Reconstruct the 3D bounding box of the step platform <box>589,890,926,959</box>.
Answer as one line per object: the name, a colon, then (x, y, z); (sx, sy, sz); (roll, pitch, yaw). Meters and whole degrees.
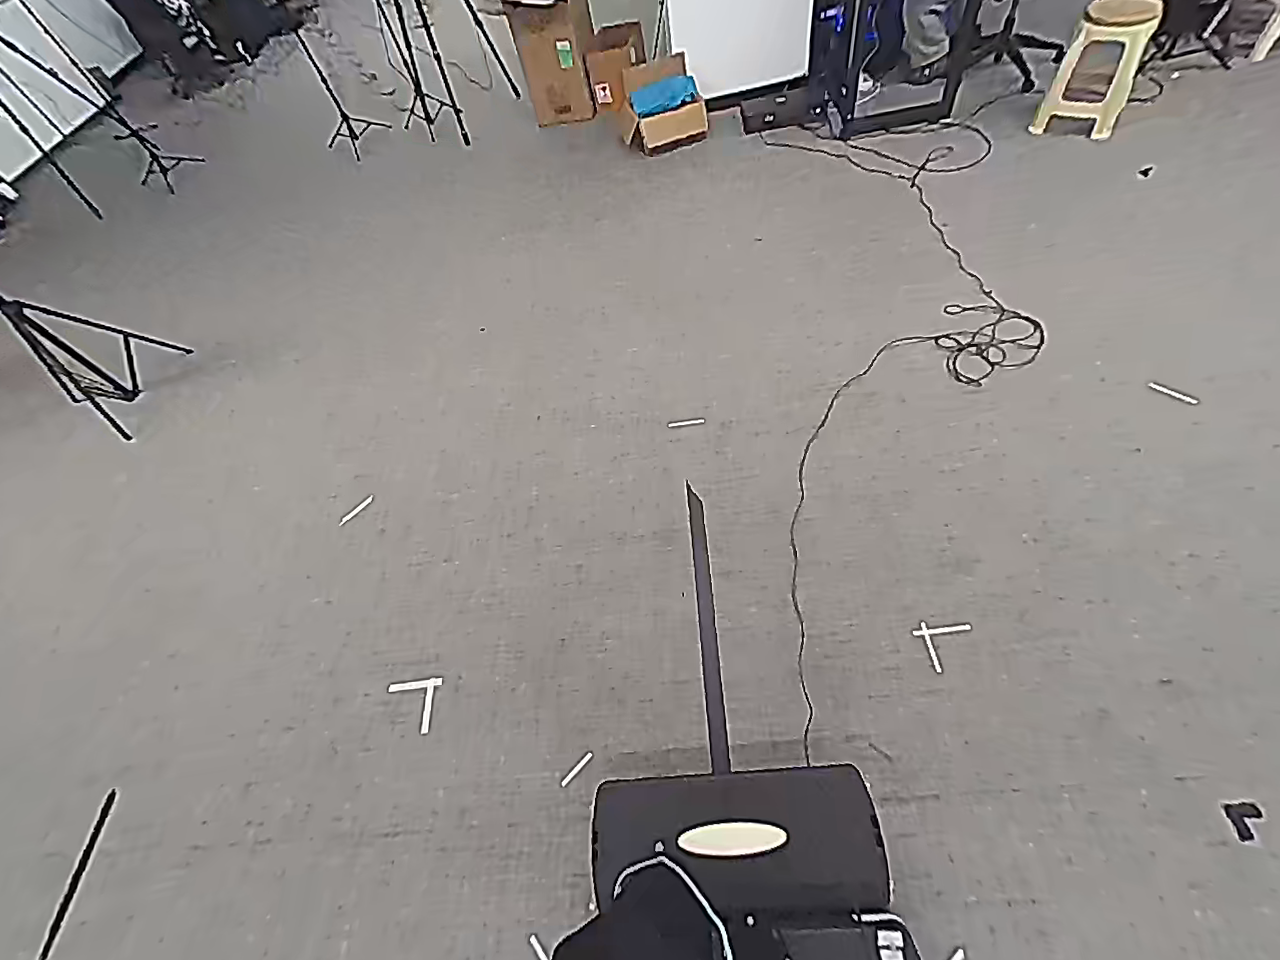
step platform: (0.234, 1.032, 1.097); (0.684, 0.204, 0.286); (-9, 54, 7)
